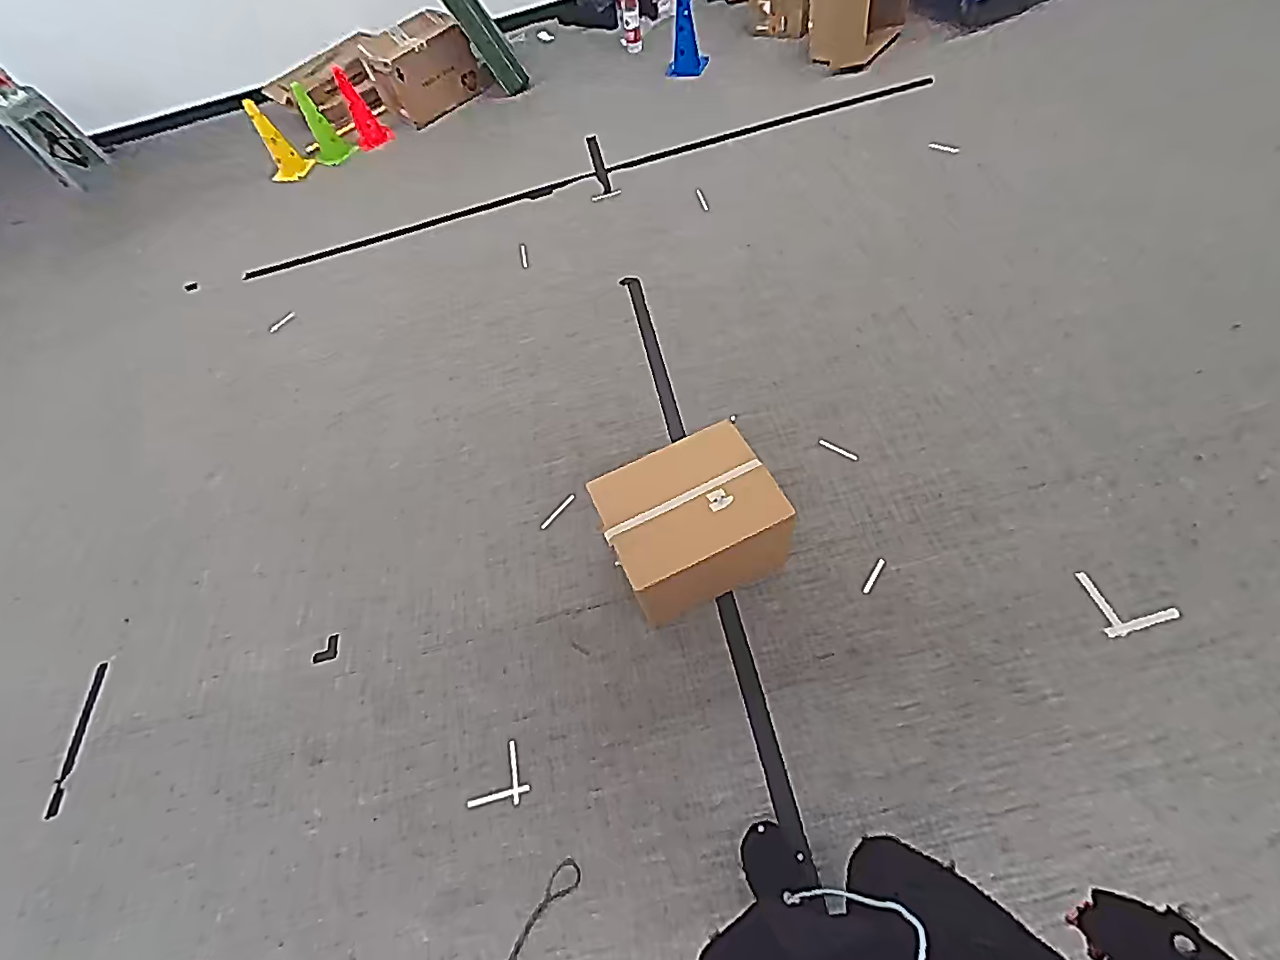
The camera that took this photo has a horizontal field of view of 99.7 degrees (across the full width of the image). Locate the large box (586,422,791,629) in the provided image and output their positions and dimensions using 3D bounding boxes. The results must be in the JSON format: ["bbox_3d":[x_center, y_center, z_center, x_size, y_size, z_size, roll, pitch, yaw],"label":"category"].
[{"bbox_3d":[0.124,0.126,1.398,0.408,0.320,0.320,-25,59,-6],"label":"large box"}]
